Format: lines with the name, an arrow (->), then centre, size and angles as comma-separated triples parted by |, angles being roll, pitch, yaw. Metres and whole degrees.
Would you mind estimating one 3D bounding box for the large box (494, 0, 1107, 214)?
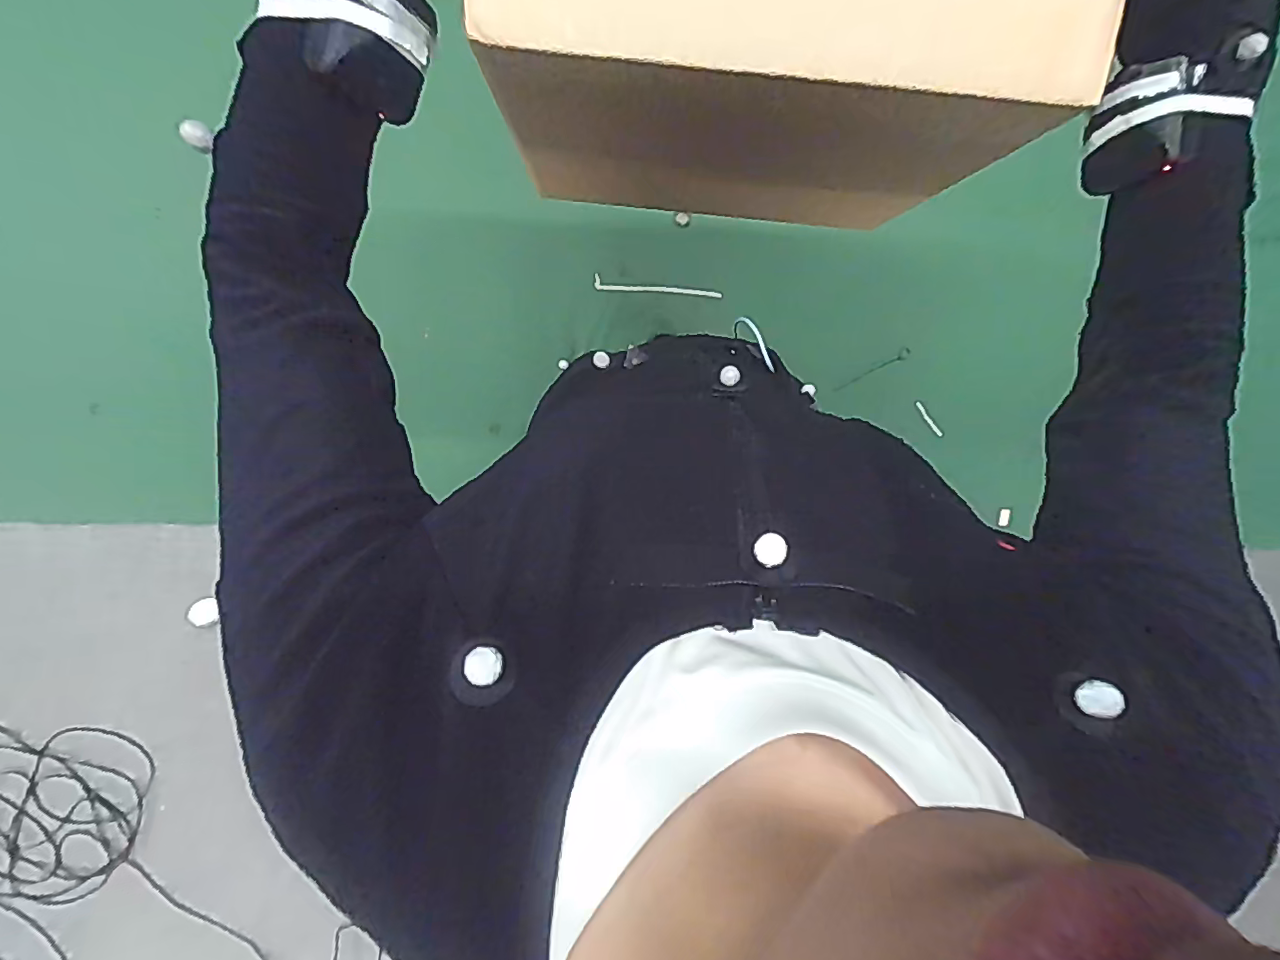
large box -> 0.103, -0.447, 0.467 | 0.408, 0.320, 0.320 | 3, 102, -4
